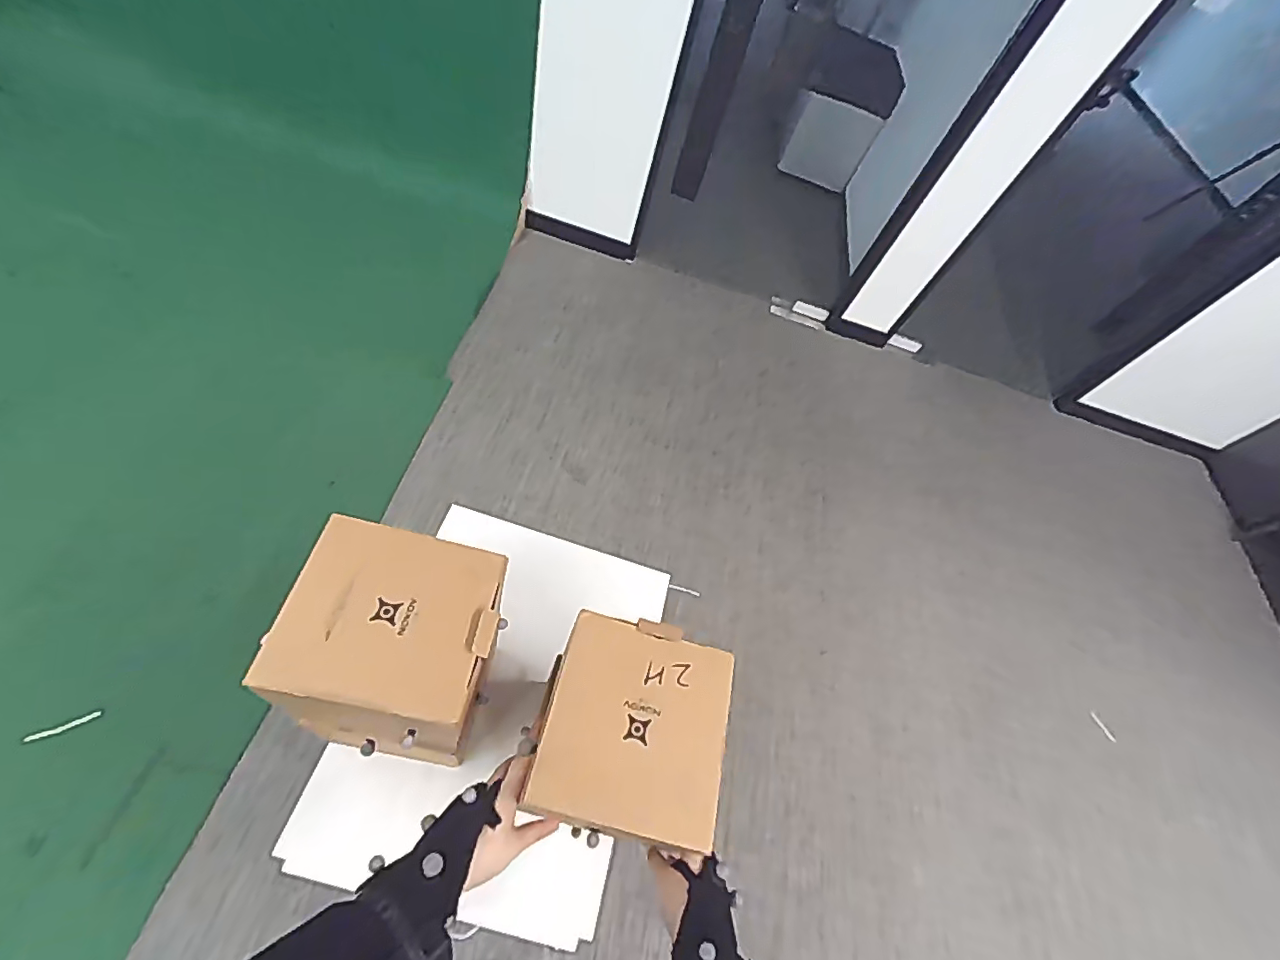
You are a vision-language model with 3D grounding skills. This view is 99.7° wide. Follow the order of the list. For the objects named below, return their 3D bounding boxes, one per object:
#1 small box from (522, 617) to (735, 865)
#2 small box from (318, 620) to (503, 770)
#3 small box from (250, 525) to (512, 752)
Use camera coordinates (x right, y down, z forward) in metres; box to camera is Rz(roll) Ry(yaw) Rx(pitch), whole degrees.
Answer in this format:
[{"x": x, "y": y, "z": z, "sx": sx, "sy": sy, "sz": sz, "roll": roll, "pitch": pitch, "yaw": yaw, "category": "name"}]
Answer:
[{"x": -0.017, "y": 0.272, "z": 0.561, "sx": 0.168, "sy": 0.176, "sz": 0.179, "roll": 18, "pitch": 54, "yaw": -4, "category": "small box"}, {"x": -0.288, "y": 0.261, "z": 0.690, "sx": 0.179, "sy": 0.176, "sz": 0.168, "roll": 16, "pitch": 55, "yaw": -8, "category": "small box"}, {"x": -0.245, "y": 0.173, "z": 0.559, "sx": 0.179, "sy": 0.176, "sz": 0.168, "roll": 15, "pitch": 54, "yaw": -8, "category": "small box"}]
